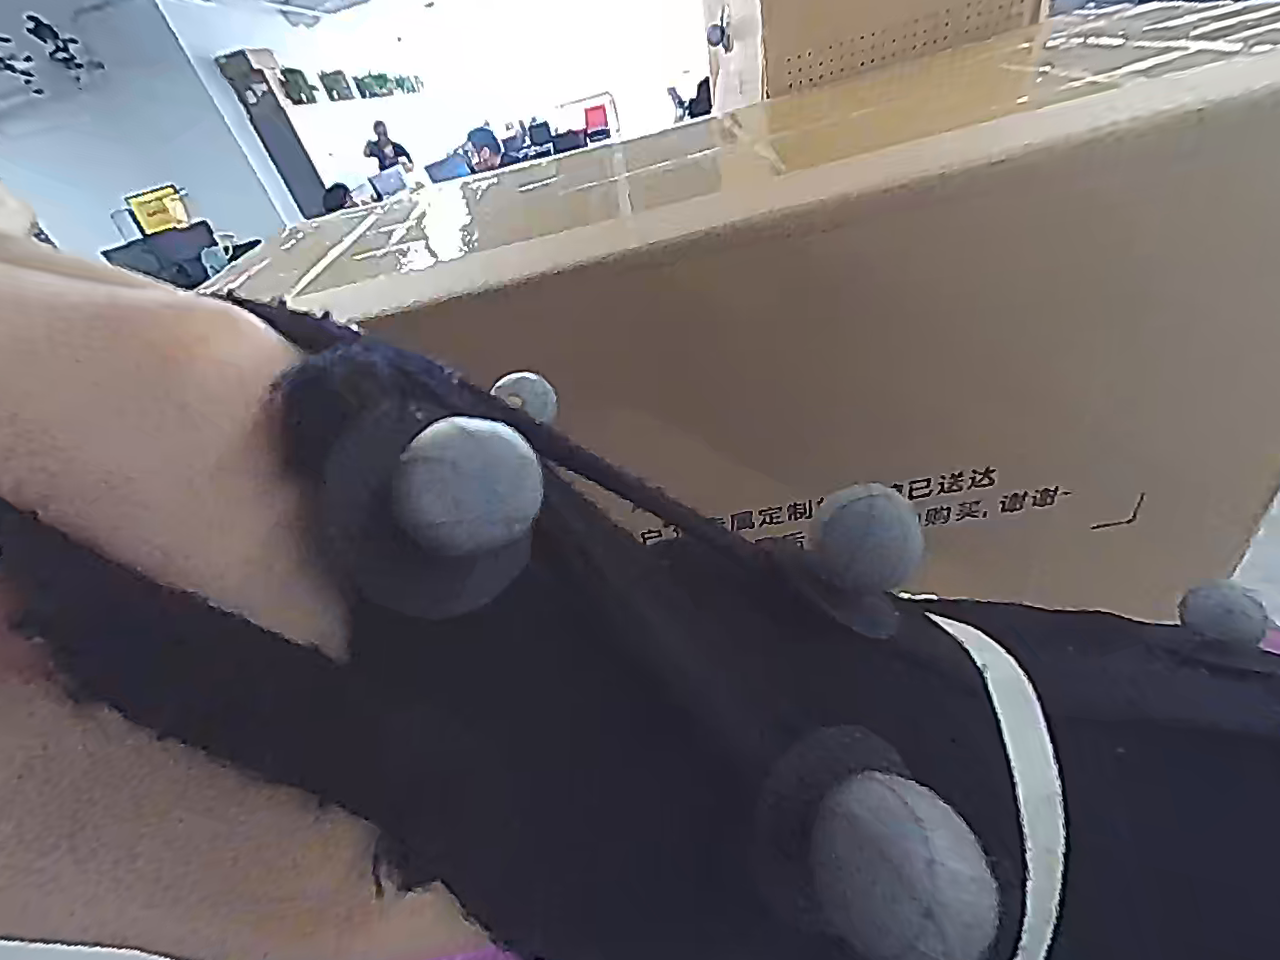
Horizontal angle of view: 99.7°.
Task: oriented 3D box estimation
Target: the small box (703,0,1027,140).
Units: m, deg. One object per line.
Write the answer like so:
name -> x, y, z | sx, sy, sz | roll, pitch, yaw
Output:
small box -> 0.138, -0.352, 0.362 | 0.179, 0.176, 0.168 | -16, 36, 3
